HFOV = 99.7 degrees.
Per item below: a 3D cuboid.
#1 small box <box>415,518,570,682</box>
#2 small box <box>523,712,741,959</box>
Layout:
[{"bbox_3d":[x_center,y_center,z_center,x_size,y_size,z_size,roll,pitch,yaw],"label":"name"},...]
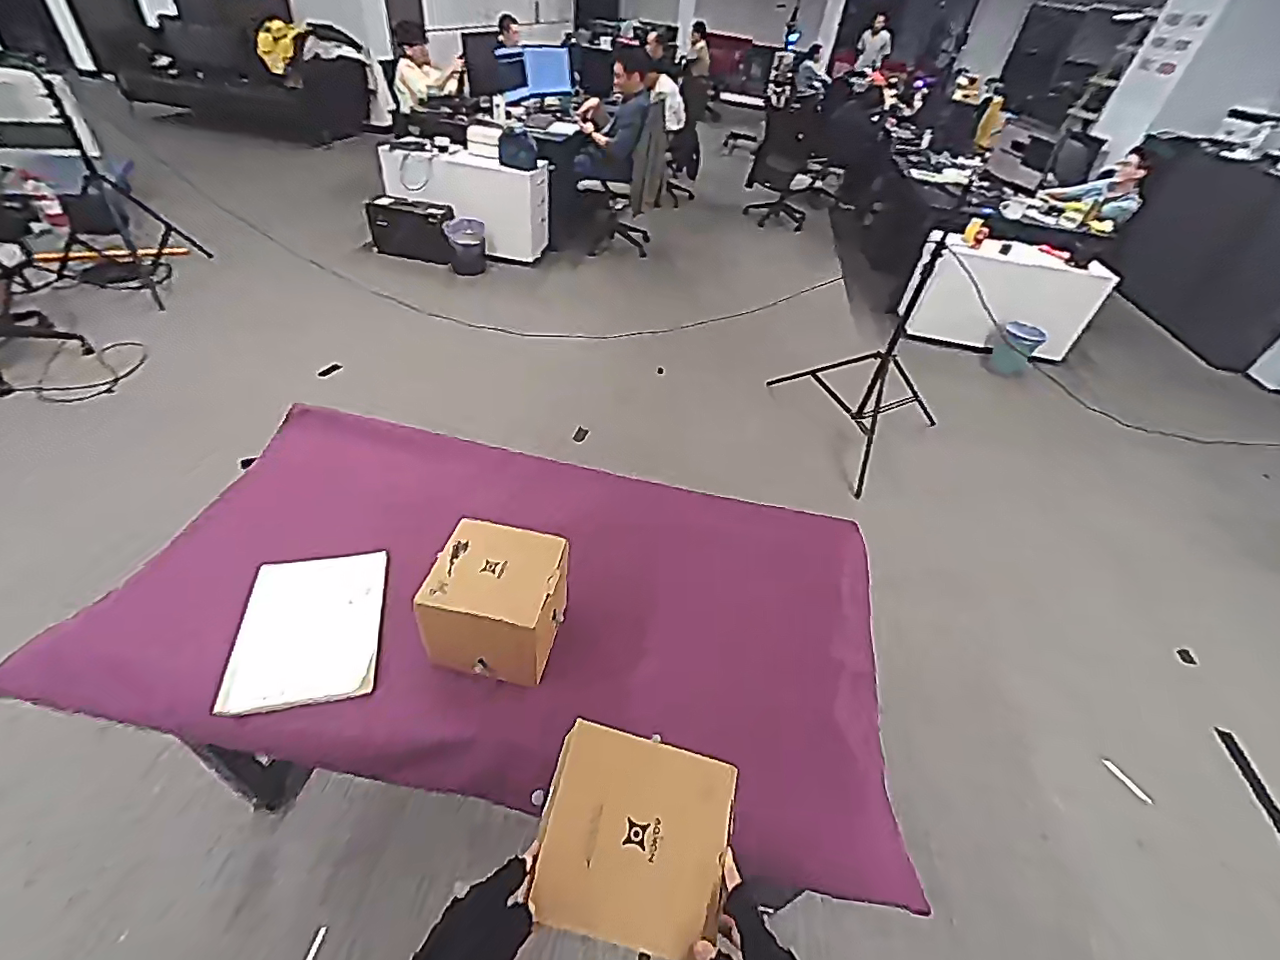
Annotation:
[{"bbox_3d":[-0.217,0.189,0.837,0.179,0.176,0.168,12,41,3],"label":"small box"},{"bbox_3d":[-0.013,0.367,0.571,0.179,0.176,0.168,17,54,-1],"label":"small box"}]
